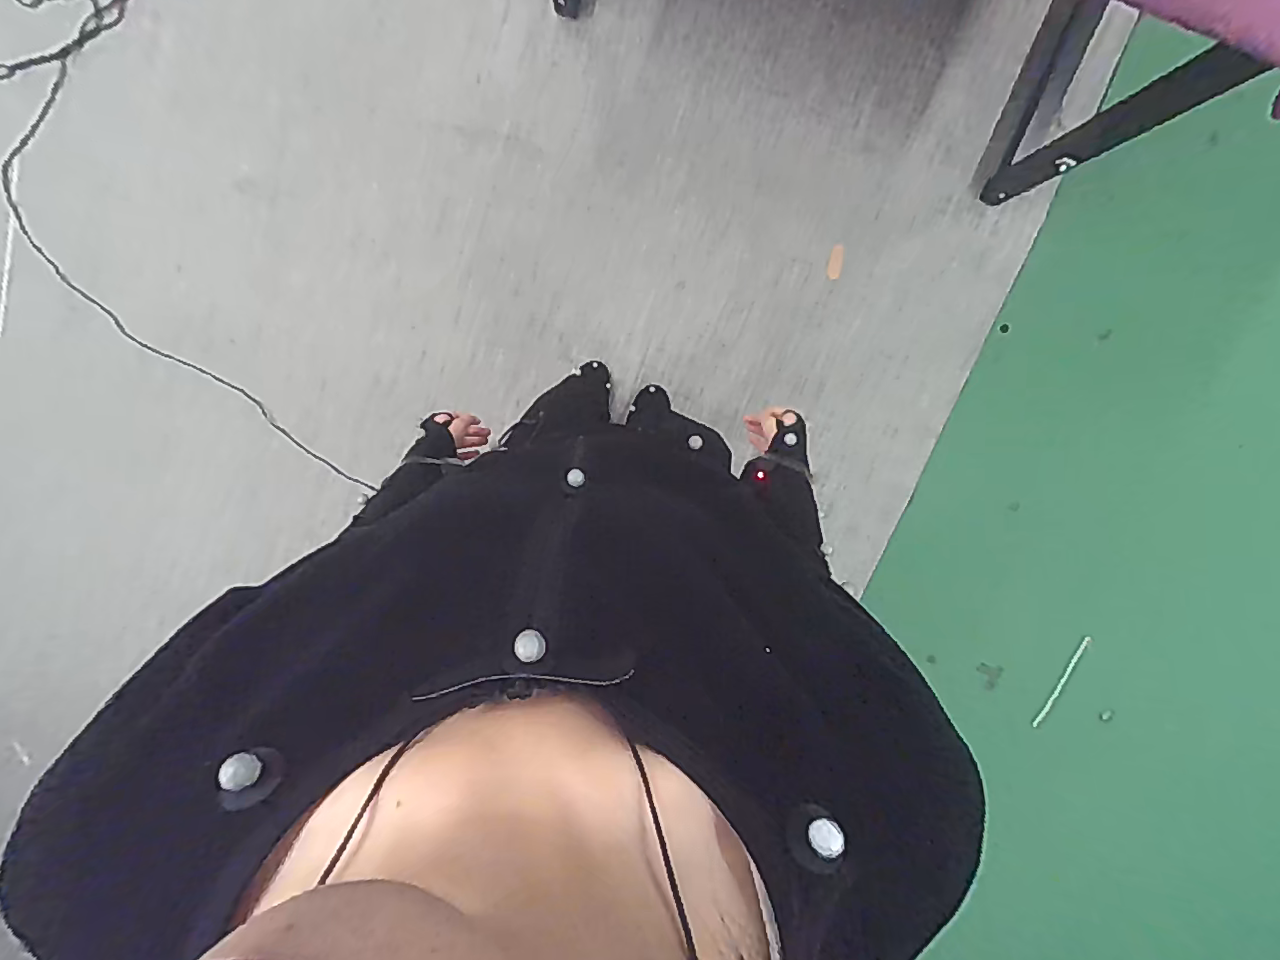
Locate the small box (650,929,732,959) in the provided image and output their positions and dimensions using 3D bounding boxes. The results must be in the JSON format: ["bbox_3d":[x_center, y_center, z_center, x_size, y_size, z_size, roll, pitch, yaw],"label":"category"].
[{"bbox_3d":[0.105,1.112,1.158,0.179,0.176,0.168,6,101,-1],"label":"small box"}]

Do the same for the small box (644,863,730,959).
[{"bbox_3d":[0.108,1.082,1.319,0.179,0.176,0.168,11,101,-1],"label":"small box"}]

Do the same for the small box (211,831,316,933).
[{"bbox_3d":[-0.950,1.025,1.334,0.168,0.176,0.179,39,101,-6],"label":"small box"}]

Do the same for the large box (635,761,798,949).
[{"bbox_3d":[0.195,1.063,1.564,0.408,0.320,0.320,6,102,-1],"label":"large box"}]
